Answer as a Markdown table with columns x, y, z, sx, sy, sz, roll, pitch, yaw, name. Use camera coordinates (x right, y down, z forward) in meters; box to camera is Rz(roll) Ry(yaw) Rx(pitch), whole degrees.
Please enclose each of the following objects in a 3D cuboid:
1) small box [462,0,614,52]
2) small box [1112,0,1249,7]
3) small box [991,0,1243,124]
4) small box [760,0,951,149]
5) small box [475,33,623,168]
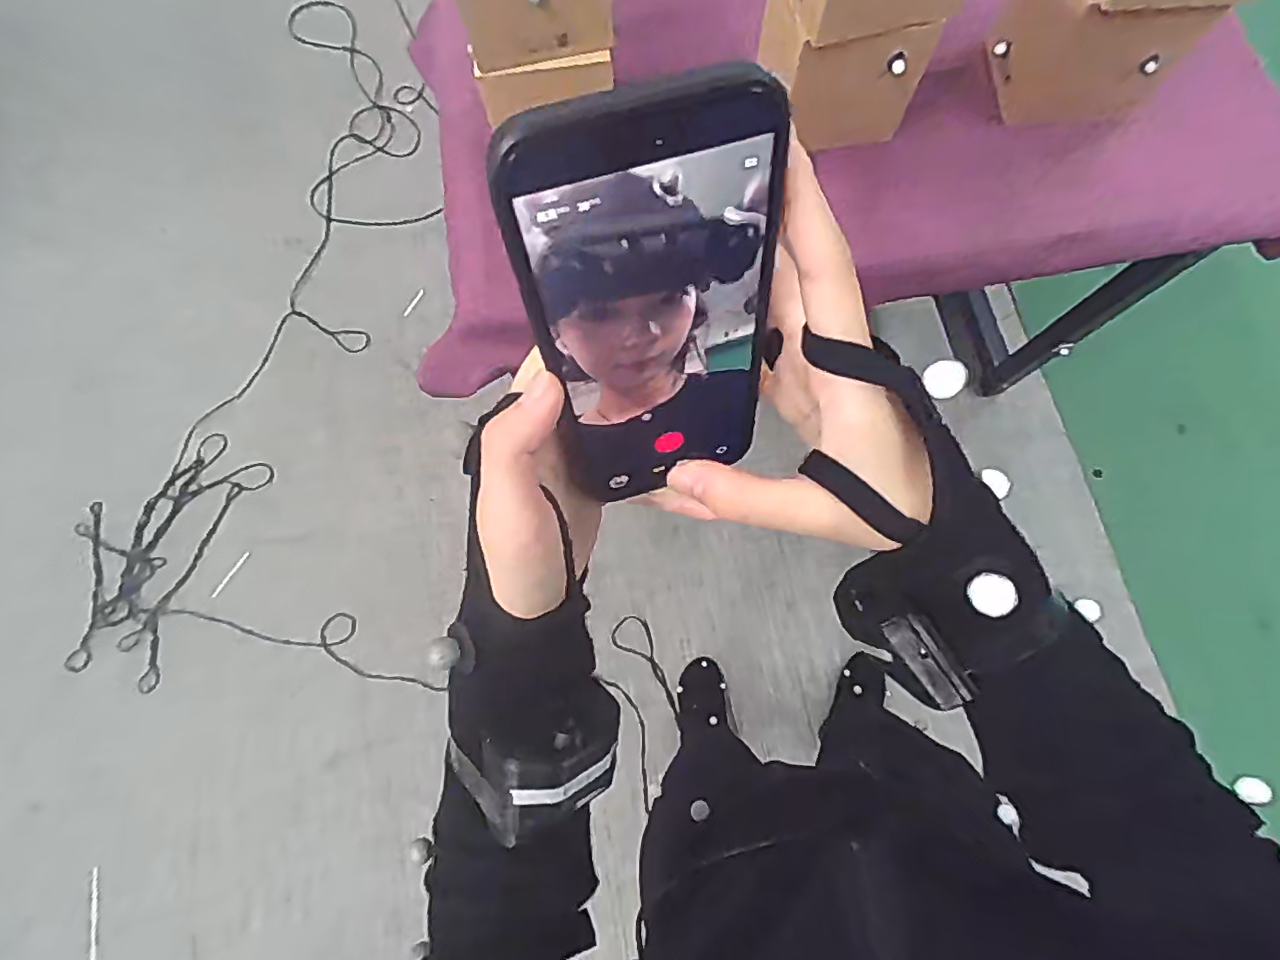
| x | y | z | sx | sy | sz | roll | pitch | yaw | name |
| --- | --- | --- | --- | --- | --- | --- | --- | --- | --- |
| -0.125 | -0.604 | 0.581 | 0.168 | 0.176 | 0.179 | -11 | 77 | -1 | small box |
| 0.615 | -0.633 | 0.555 | 0.179 | 0.176 | 0.168 | -1 | 76 | 2 | small box |
| 0.612 | -0.608 | 0.718 | 0.179 | 0.176 | 0.168 | -1 | 76 | 3 | small box |
| 0.273 | -0.583 | 0.725 | 0.179 | 0.176 | 0.168 | -7 | 76 | 1 | small box |
| -0.117 | -0.557 | 0.738 | 0.168 | 0.176 | 0.179 | -6 | 76 | 1 | small box |
